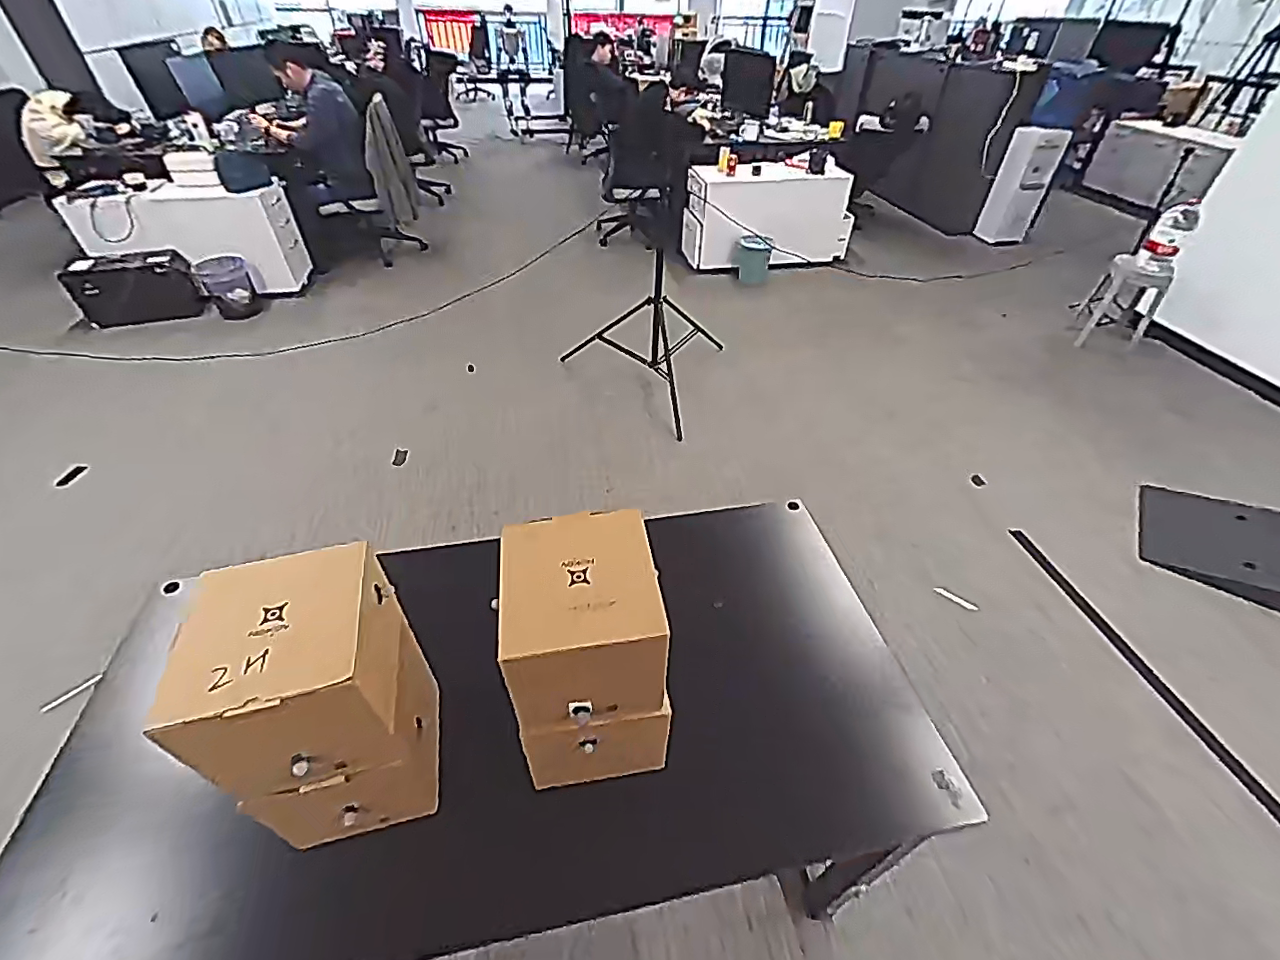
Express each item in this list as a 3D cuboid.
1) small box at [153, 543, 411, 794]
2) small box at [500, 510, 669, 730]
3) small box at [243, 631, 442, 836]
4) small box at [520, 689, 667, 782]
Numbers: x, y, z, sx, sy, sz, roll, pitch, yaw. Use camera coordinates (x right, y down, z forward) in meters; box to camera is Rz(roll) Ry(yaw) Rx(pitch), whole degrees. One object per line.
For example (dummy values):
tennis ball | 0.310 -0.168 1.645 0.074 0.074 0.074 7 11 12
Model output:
small box | -0.356 0.199 0.583 0.168 0.176 0.179 -11 43 -12
small box | -0.066 0.161 0.634 0.168 0.176 0.179 -8 43 -7
small box | -0.357 0.326 0.691 0.168 0.176 0.179 -10 43 -11
small box | -0.064 0.288 0.737 0.179 0.176 0.168 -6 42 -8
